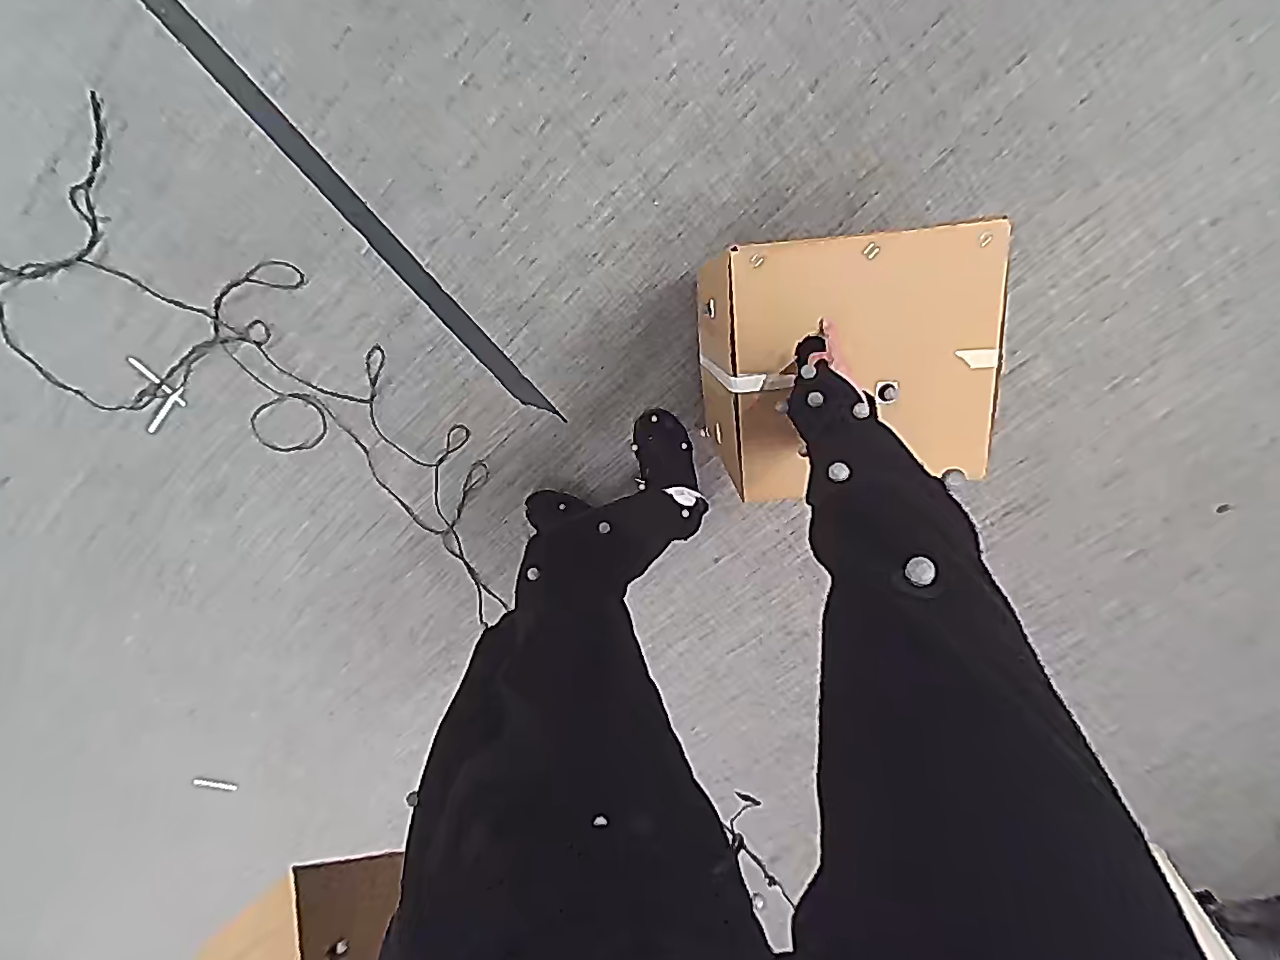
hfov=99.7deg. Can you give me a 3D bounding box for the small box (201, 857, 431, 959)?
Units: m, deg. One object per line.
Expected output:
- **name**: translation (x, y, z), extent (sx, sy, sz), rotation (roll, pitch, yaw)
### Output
- **small box**: translation (-0.368, 0.580, 0.629), extent (0.168, 0.179, 0.176), rotation (-40, 142, 5)
